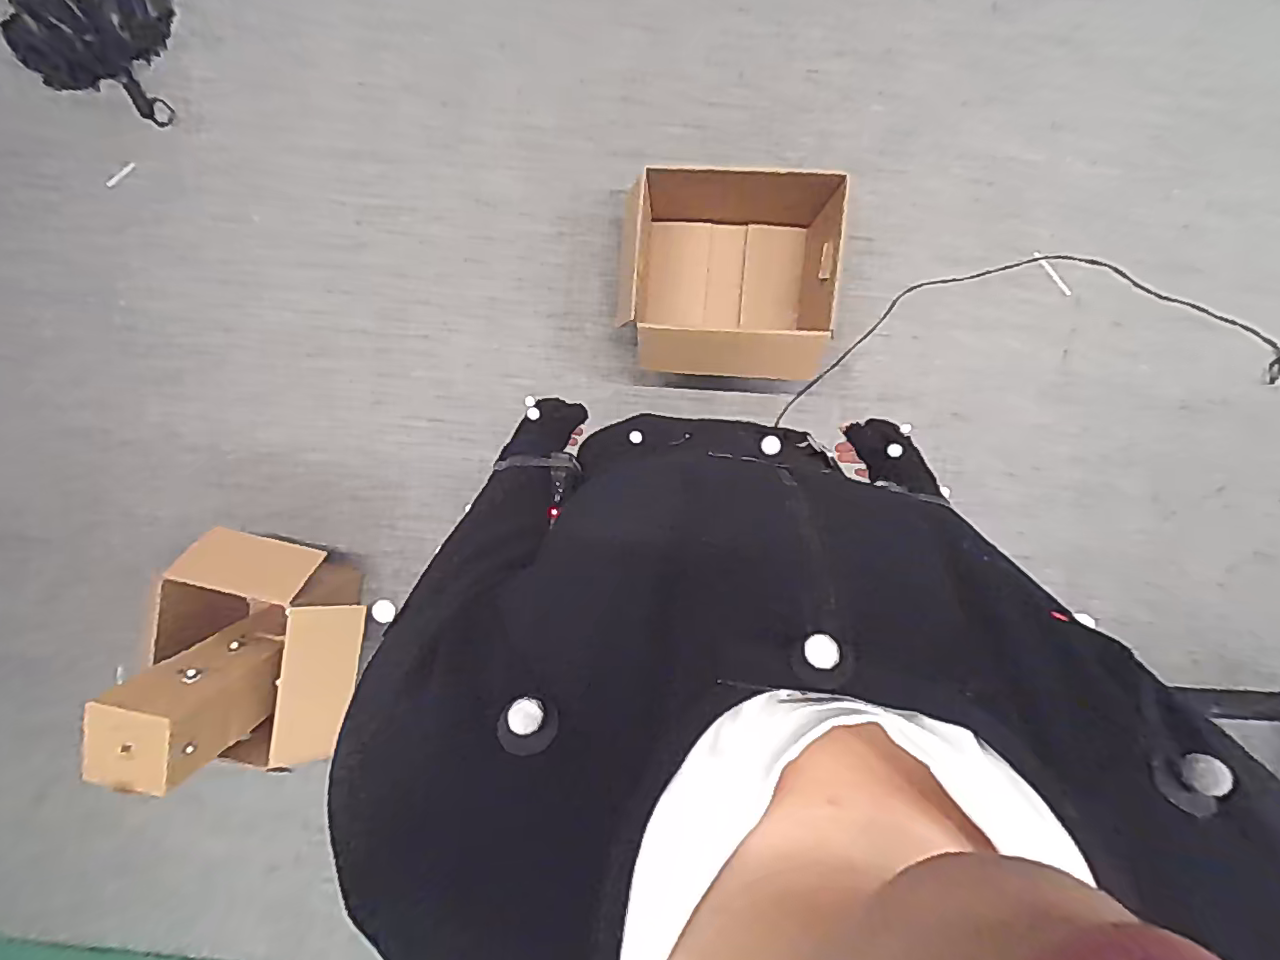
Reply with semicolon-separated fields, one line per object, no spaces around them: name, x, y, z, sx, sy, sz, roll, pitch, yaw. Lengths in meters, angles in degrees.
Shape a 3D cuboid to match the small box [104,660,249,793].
small box;-0.963;0.508;1.135;0.168;0.176;0.179;10;100;0
